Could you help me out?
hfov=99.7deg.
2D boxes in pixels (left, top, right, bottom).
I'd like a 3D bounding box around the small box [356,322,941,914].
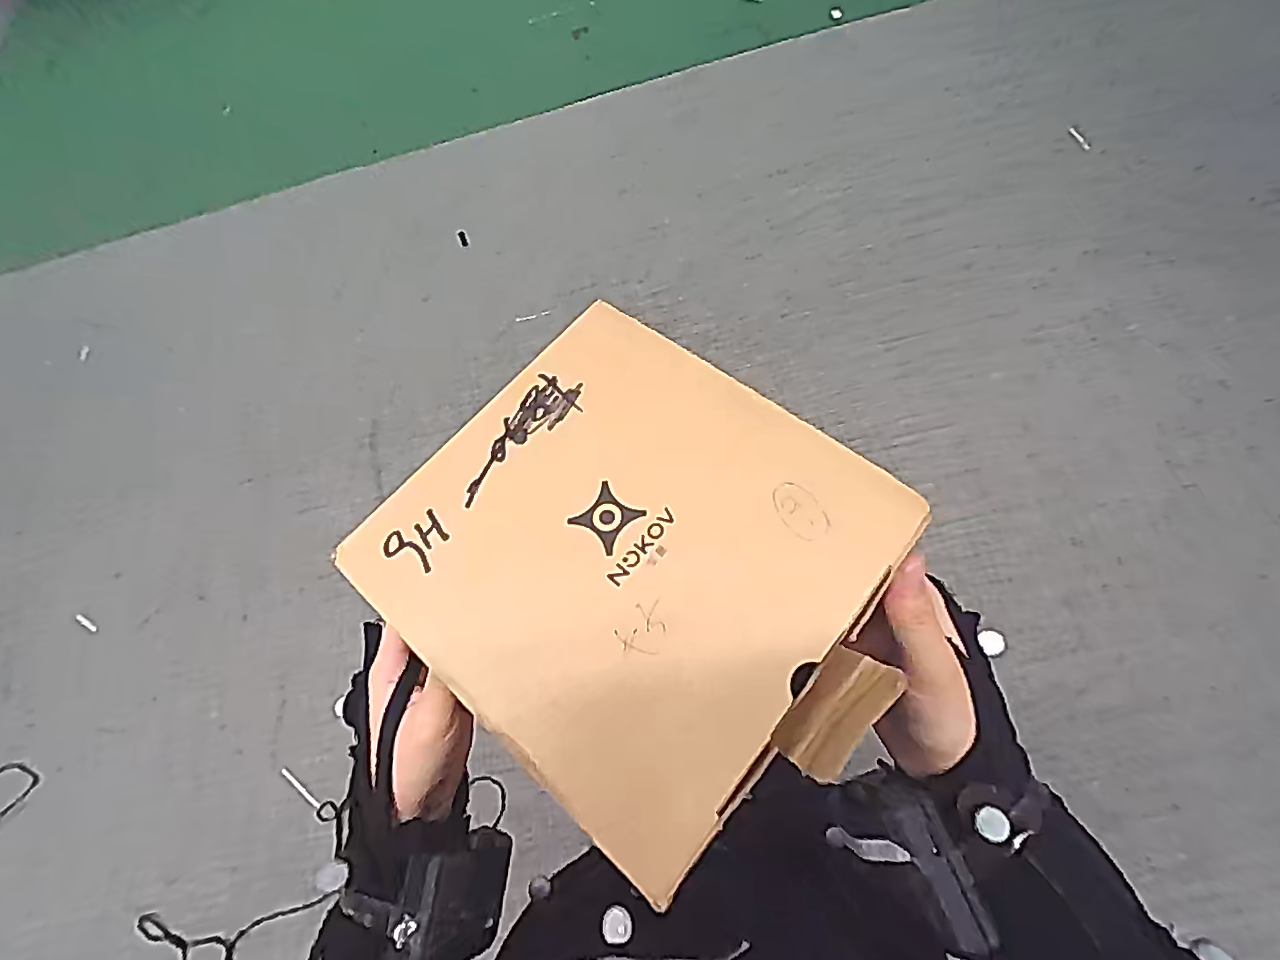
[{"bbox_3d":[0.005,0.061,0.286,0.179,0.176,0.168,39,74,19],"label":"small box"}]
